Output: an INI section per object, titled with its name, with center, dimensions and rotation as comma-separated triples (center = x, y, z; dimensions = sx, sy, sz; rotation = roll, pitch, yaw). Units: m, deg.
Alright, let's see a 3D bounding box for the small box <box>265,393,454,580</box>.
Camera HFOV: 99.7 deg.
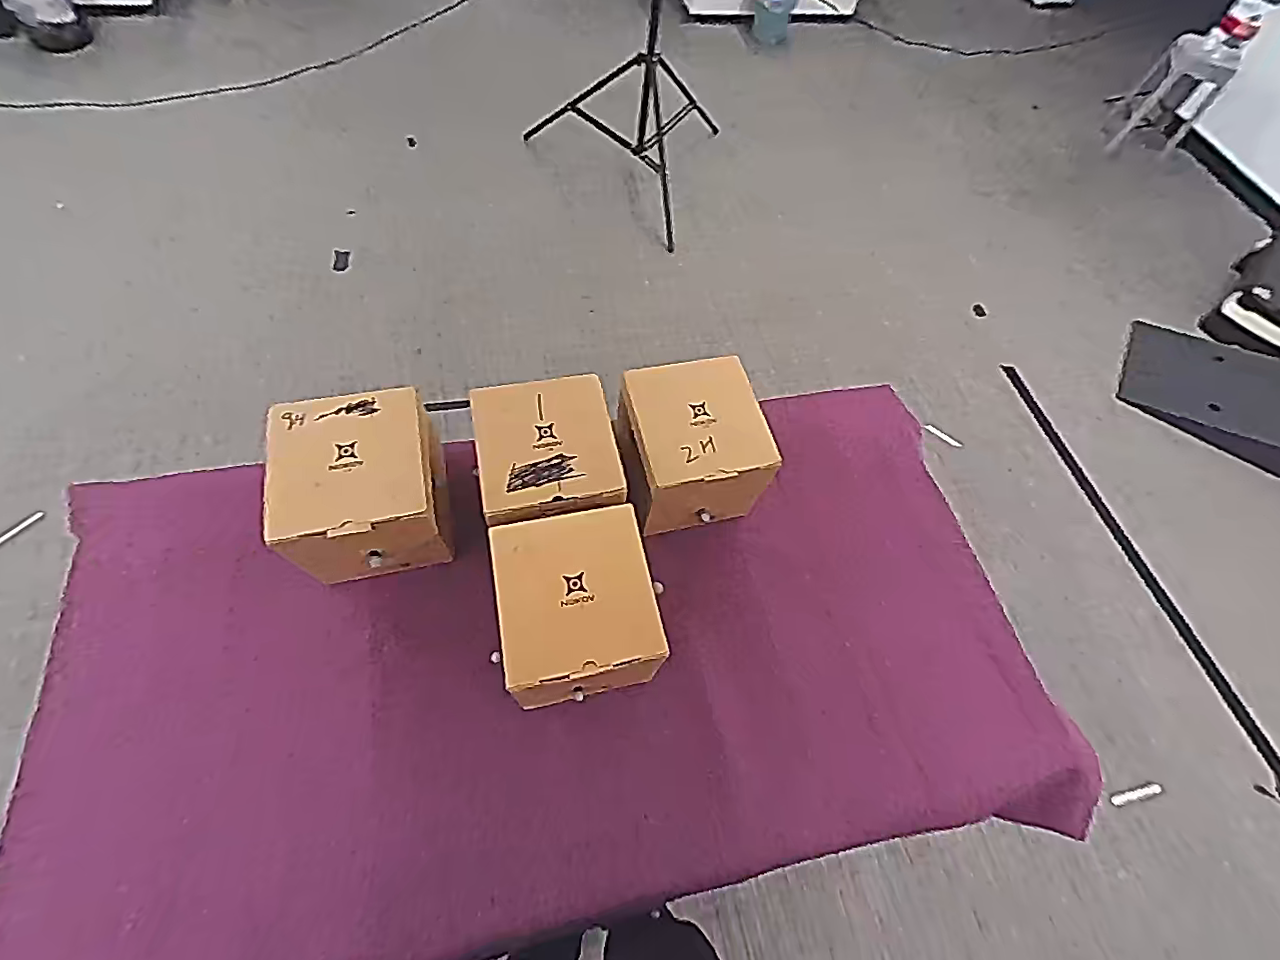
[small box]
center = -0.341, 0.018, 0.684
dimensions = 0.168, 0.176, 0.179
rotation = -10, 66, -12
